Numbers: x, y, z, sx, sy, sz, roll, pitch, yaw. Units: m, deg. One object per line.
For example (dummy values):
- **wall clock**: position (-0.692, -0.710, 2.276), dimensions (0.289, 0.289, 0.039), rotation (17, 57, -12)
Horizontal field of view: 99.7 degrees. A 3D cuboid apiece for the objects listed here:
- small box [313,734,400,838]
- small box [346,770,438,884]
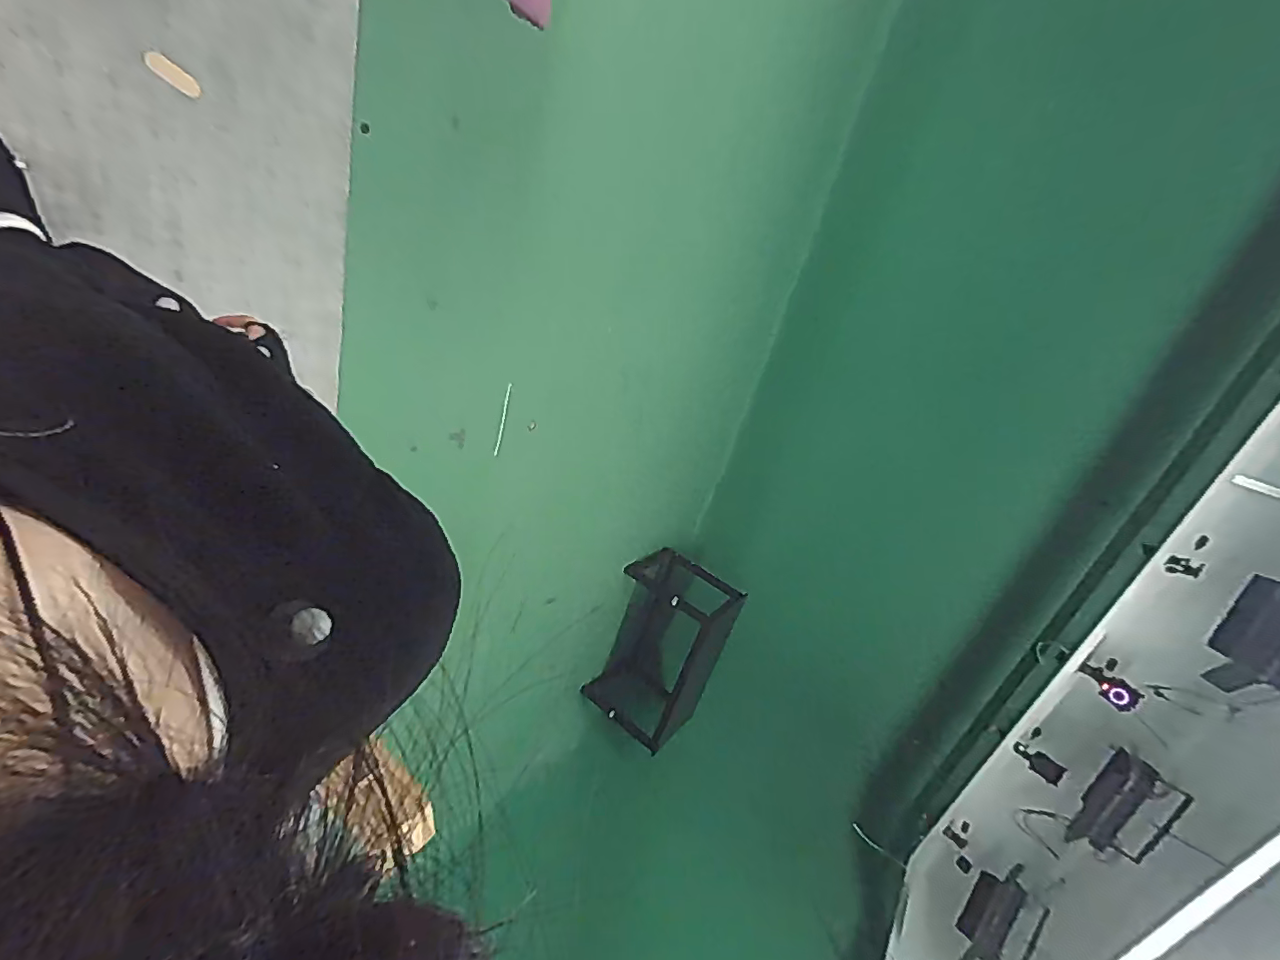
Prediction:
- **small box**: position (-0.811, 0.868, 1.555), dimensions (0.168, 0.176, 0.179), rotation (-28, 138, -47)
- **small box**: position (-0.681, 0.941, 1.485), dimensions (0.168, 0.176, 0.179), rotation (-29, 138, -45)
